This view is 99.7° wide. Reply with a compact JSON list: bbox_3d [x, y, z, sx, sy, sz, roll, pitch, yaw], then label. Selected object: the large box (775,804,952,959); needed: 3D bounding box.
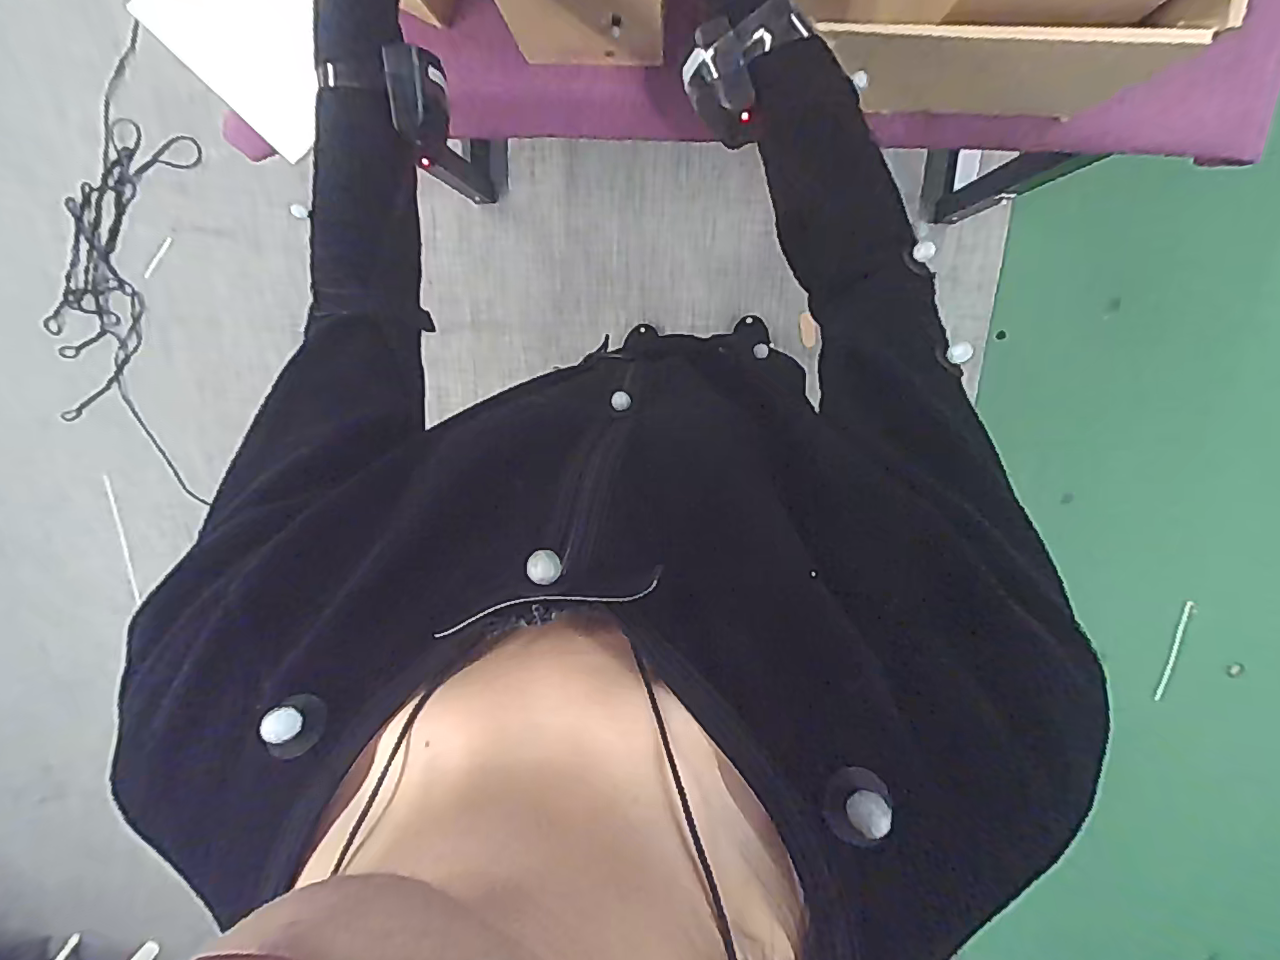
[{"bbox_3d":[0.657,1.247,1.635,0.408,0.320,0.320,-11,104,6],"label":"large box"}]
